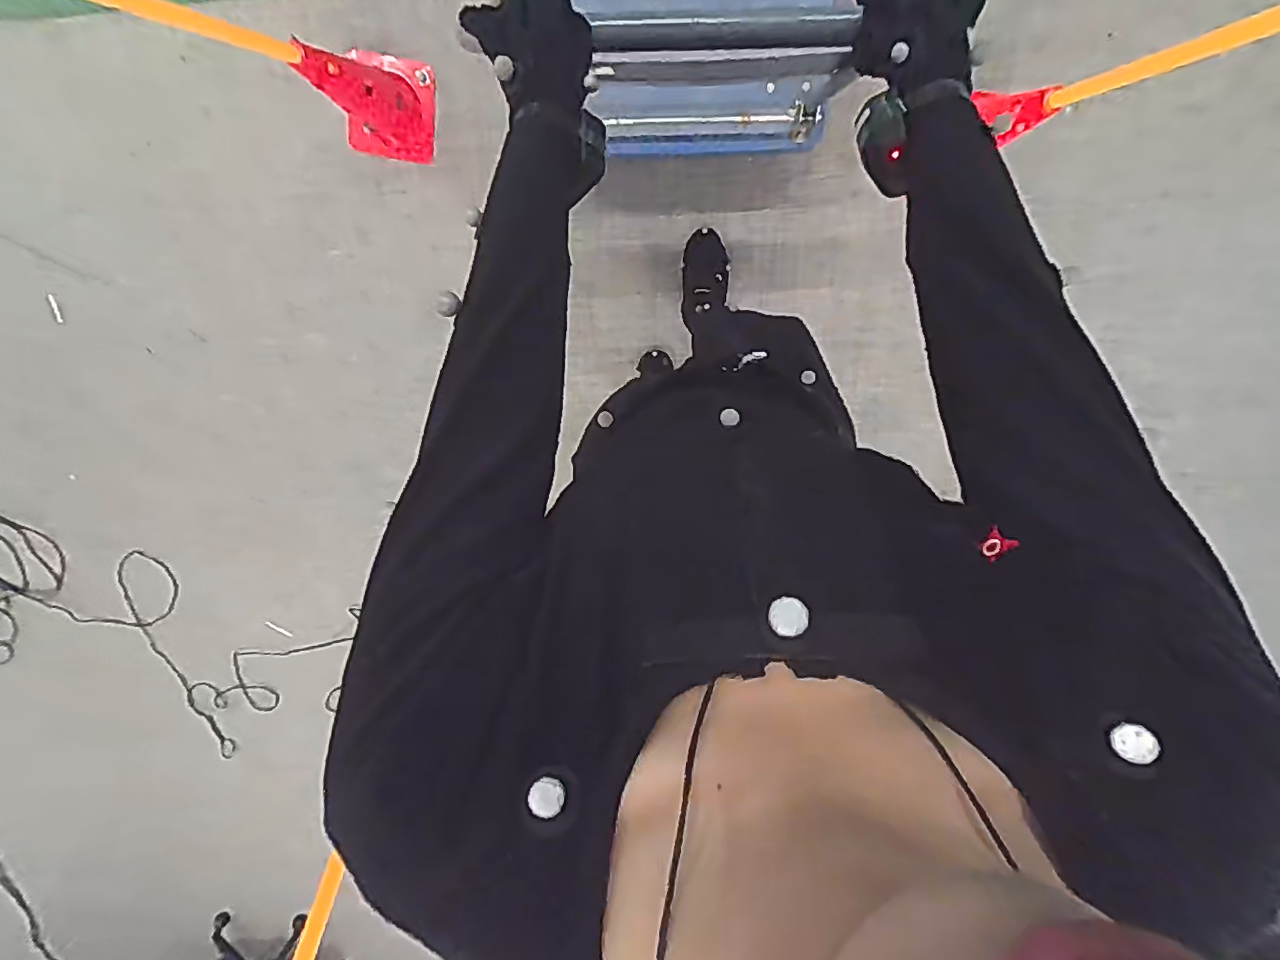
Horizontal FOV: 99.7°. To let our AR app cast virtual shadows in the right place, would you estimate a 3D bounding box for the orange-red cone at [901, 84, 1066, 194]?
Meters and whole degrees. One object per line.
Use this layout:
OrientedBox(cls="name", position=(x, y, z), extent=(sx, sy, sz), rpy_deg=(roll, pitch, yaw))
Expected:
OrientedBox(cls="orange-red cone", position=(0.706, -0.706, 1.069), extent=(0.198, 0.360, 0.199), rpy_deg=(9, 113, -1))
